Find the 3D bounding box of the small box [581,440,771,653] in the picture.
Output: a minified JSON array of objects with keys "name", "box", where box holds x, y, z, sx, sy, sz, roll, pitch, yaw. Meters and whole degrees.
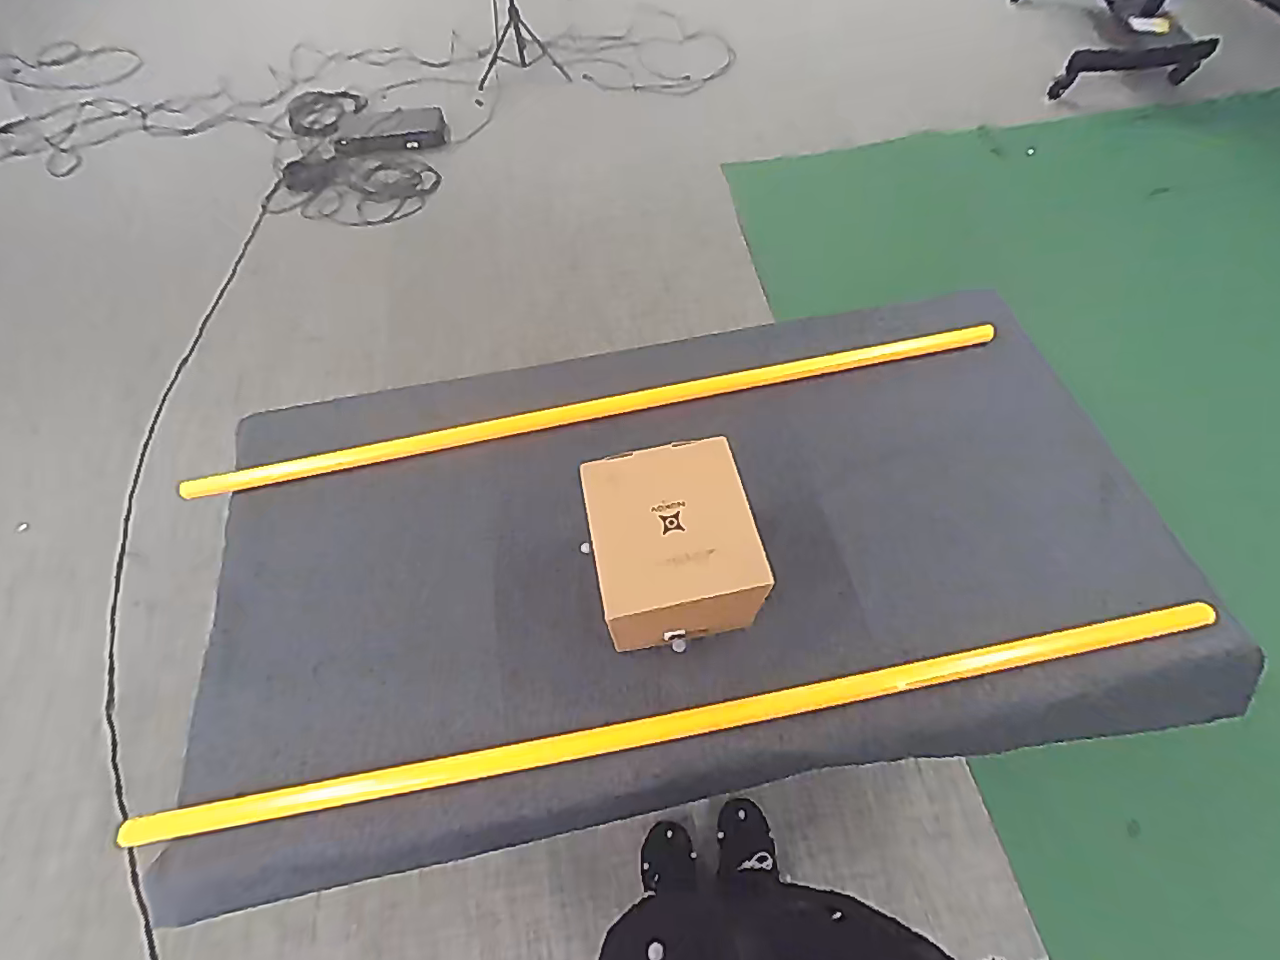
[{"name":"small box","box":[0.034,0.082,0.624,0.168,0.176,0.179,-12,62,-3]}]
